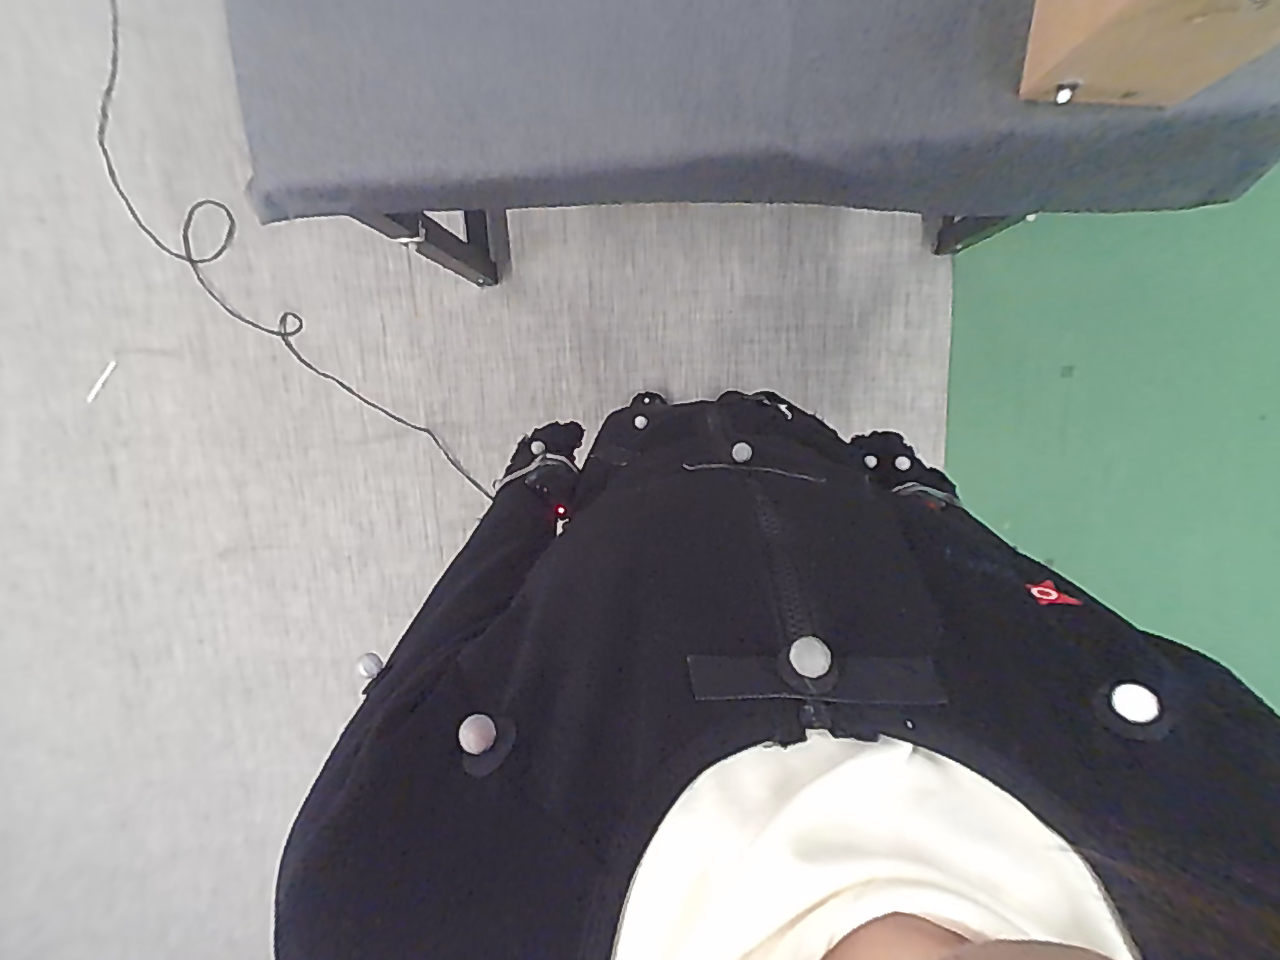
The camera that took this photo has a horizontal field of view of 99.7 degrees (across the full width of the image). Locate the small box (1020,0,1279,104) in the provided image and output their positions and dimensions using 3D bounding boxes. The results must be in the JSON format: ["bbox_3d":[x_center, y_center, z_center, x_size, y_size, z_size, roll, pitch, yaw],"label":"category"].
[{"bbox_3d":[0.504,-0.494,0.513,0.168,0.176,0.179,5,98,2],"label":"small box"}]
